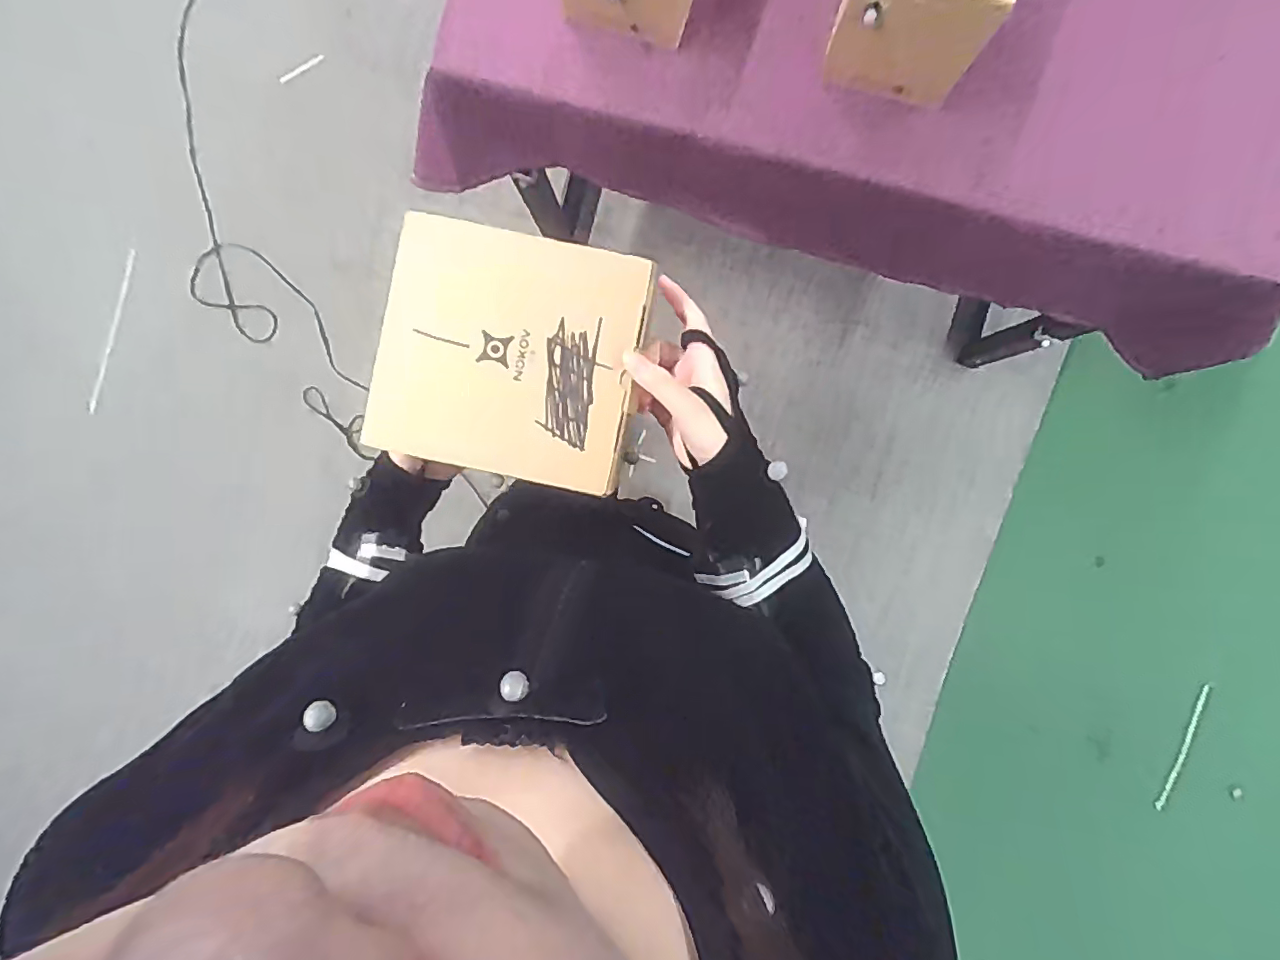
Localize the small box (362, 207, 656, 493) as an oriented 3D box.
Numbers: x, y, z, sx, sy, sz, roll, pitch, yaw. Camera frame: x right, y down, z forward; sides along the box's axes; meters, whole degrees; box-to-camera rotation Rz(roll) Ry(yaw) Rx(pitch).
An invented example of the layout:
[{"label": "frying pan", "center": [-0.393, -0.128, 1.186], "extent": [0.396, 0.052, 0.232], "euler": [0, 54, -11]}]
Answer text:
[{"label": "small box", "center": [-0.091, -0.092, 0.452], "extent": [0.179, 0.176, 0.168], "euler": [13, 91, 0]}]

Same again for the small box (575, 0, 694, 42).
[{"label": "small box", "center": [0.001, -0.689, 0.652], "extent": [0.168, 0.176, 0.179], "euler": [19, 93, 0]}]
